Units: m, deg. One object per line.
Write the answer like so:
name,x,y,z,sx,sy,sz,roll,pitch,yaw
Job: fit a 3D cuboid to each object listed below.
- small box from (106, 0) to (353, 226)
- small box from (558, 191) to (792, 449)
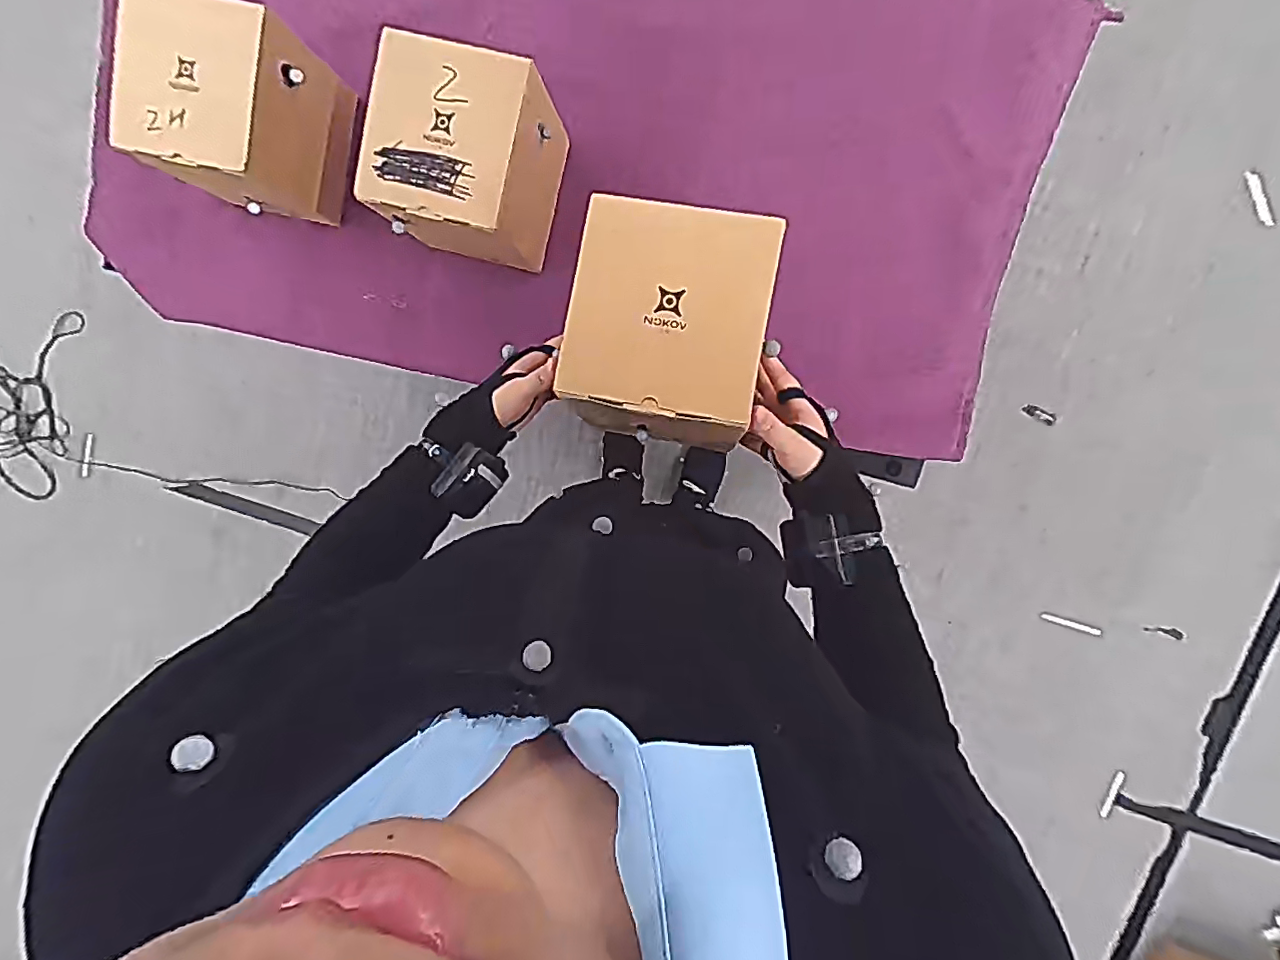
small box,-0.482,-0.440,0.659,0.168,0.176,0.179,13,98,3
small box,0.033,-0.136,0.517,0.168,0.176,0.179,11,88,5
